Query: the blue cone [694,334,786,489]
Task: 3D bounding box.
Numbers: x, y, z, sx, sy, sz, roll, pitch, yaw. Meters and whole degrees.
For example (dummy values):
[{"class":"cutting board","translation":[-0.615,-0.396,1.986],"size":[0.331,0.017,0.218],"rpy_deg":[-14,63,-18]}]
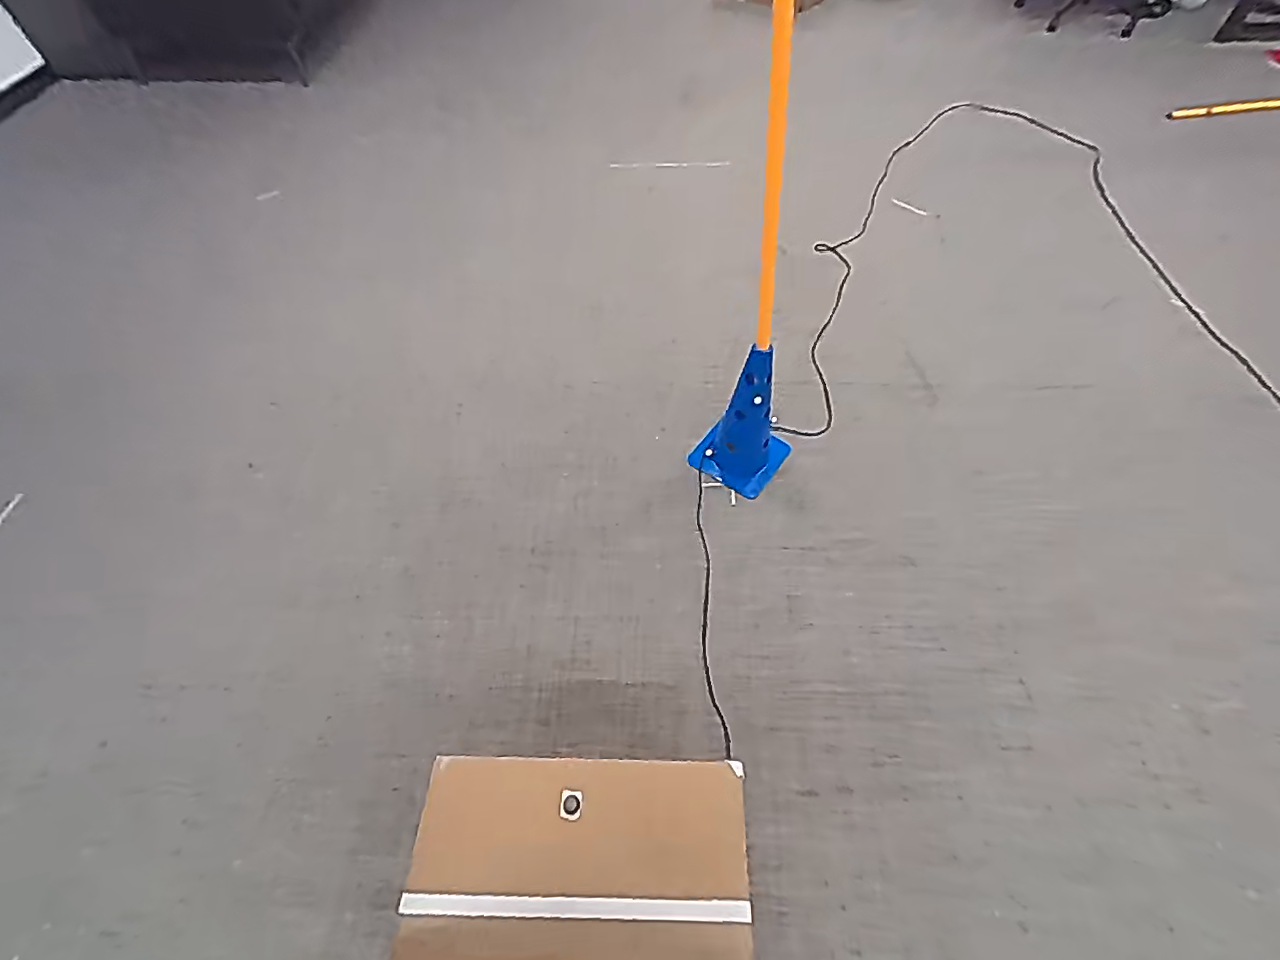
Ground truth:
[{"class":"blue cone","translation":[0.244,-0.164,1.198],"size":[0.192,0.380,0.193],"rpy_deg":[29,62,20]}]
